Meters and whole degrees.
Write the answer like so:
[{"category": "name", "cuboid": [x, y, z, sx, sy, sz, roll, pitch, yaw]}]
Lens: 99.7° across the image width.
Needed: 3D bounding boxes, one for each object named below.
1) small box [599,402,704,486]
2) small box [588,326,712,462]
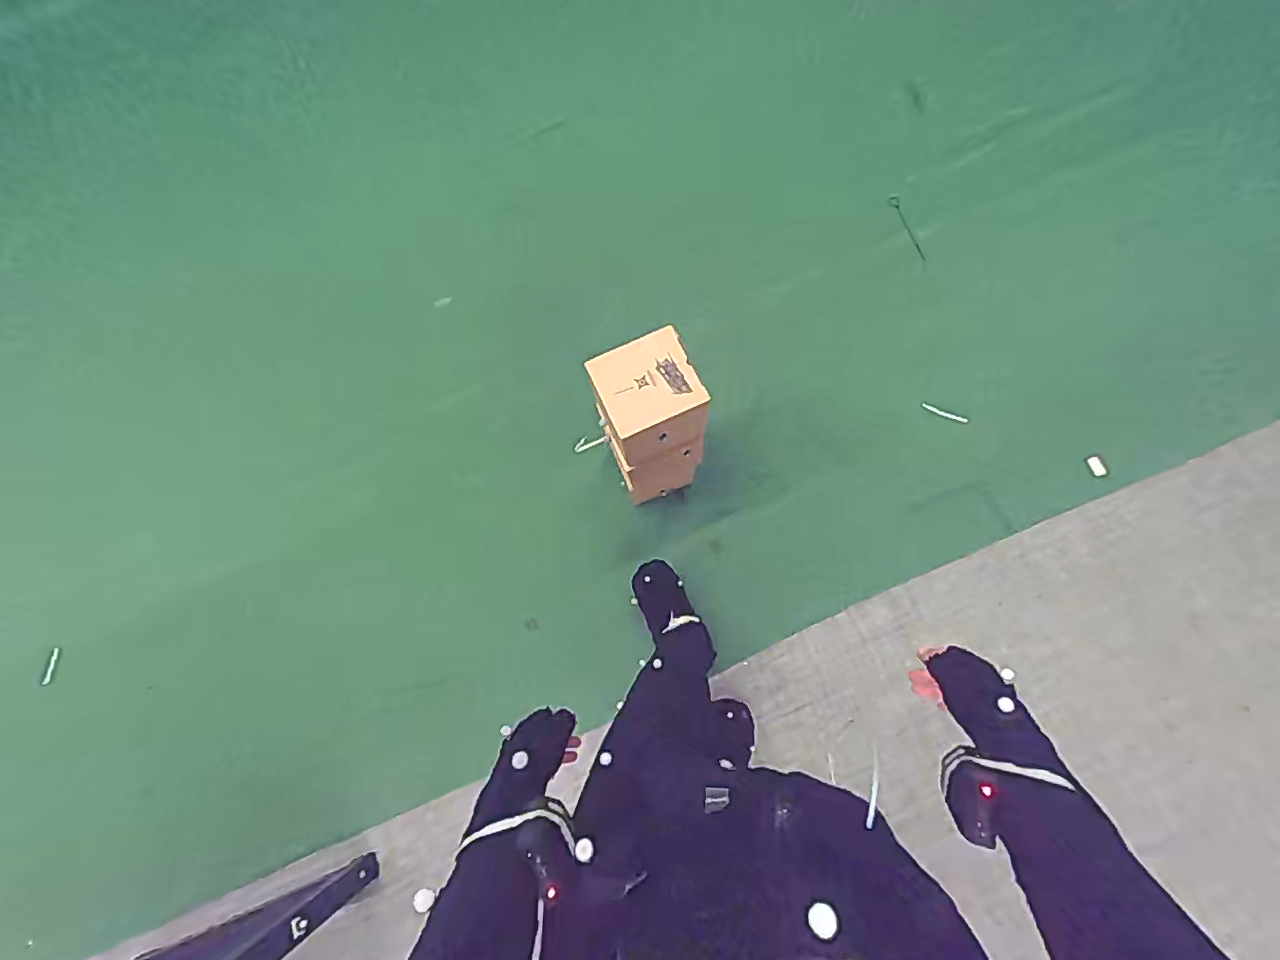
[{"category": "small box", "cuboid": [0.029, -0.104, 1.188, 0.179, 0.176, 0.168, -23, 75, -3]}, {"category": "small box", "cuboid": [0.020, -0.156, 1.032, 0.179, 0.176, 0.168, -25, 75, -2]}]
